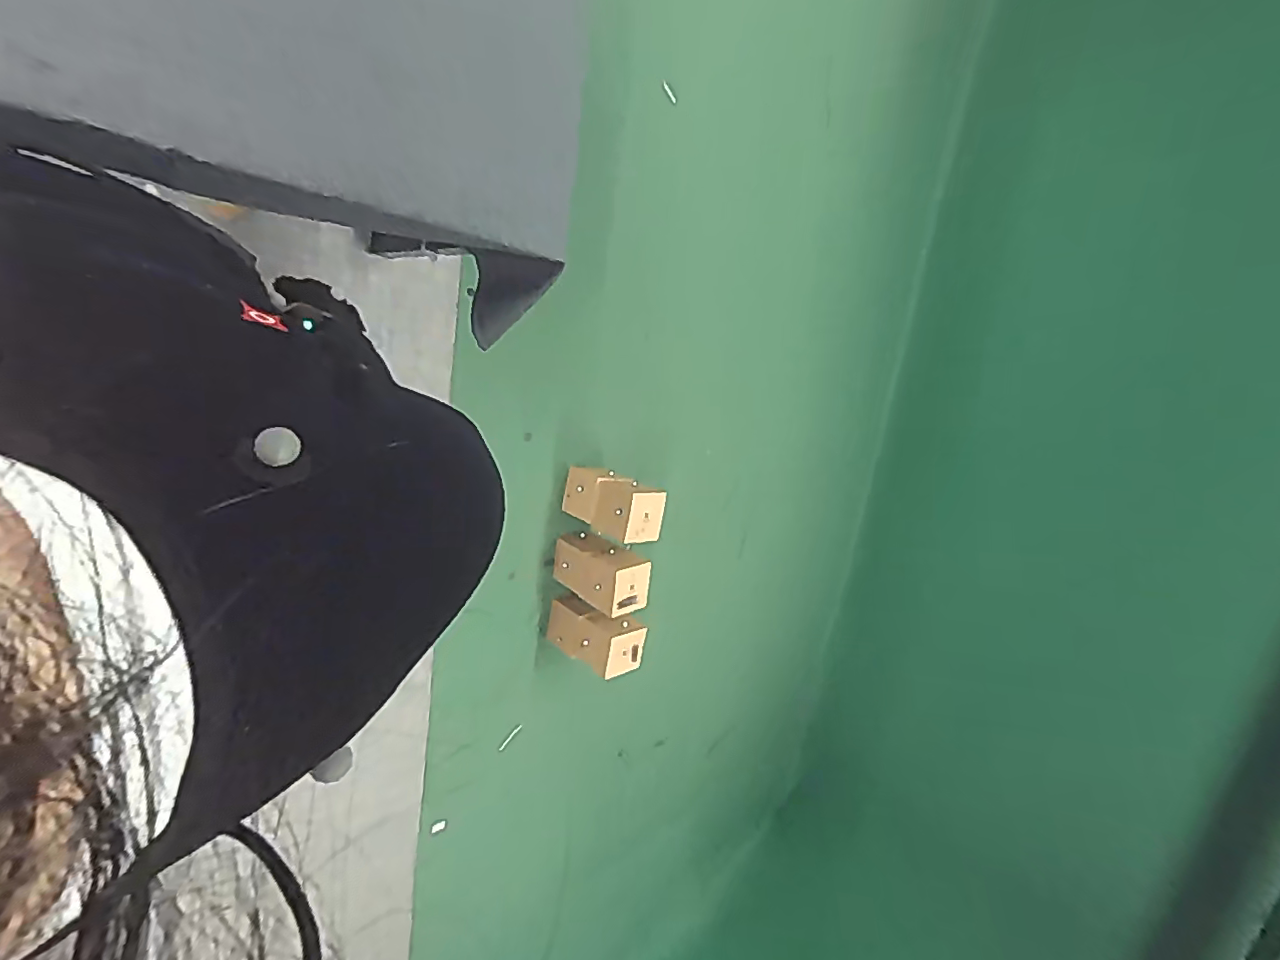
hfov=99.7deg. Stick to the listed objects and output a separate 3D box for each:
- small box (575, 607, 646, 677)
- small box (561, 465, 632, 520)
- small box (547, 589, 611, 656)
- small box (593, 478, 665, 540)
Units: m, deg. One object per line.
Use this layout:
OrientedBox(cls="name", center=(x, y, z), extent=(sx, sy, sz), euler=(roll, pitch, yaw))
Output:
OrientedBox(cls="small box", center=(-0.110, 0.584, 1.977), extent=(0.179, 0.176, 0.168), euler=(-2, 107, -46))
OrientedBox(cls="small box", center=(-0.162, 0.043, 1.956), extent=(0.179, 0.176, 0.168), euler=(3, 103, -47))
OrientedBox(cls="small box", center=(-0.239, 0.541, 2.070), extent=(0.168, 0.176, 0.179), euler=(0, 105, -46))
OrientedBox(cls="small box", center=(-0.042, 0.095, 1.854), extent=(0.168, 0.176, 0.179), euler=(1, 104, -46))
